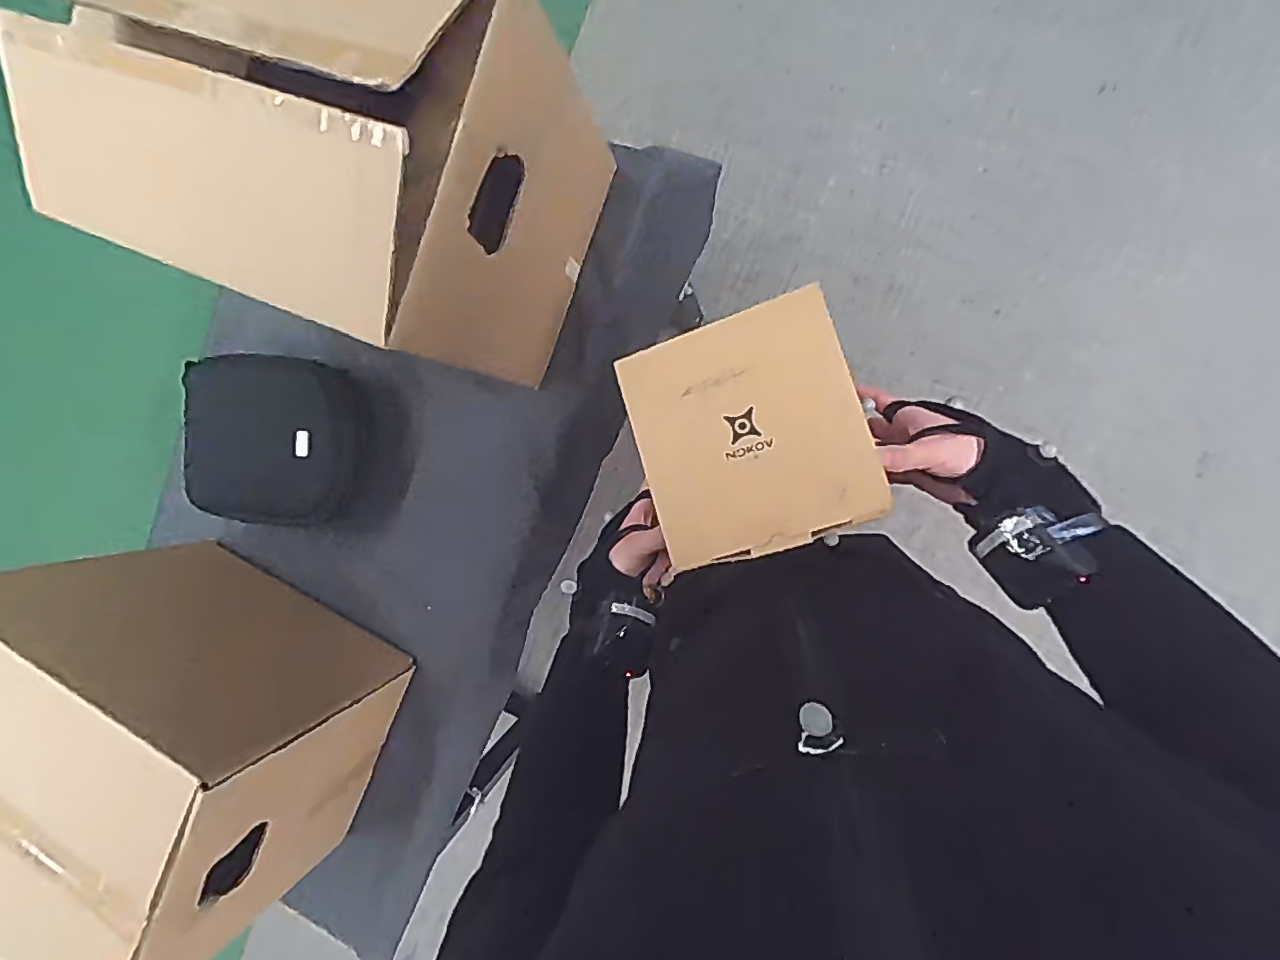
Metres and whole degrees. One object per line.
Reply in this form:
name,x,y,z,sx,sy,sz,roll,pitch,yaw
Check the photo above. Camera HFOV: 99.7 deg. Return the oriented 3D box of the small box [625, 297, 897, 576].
small box,0.107,-0.026,0.483,0.168,0.176,0.179,-18,81,14
